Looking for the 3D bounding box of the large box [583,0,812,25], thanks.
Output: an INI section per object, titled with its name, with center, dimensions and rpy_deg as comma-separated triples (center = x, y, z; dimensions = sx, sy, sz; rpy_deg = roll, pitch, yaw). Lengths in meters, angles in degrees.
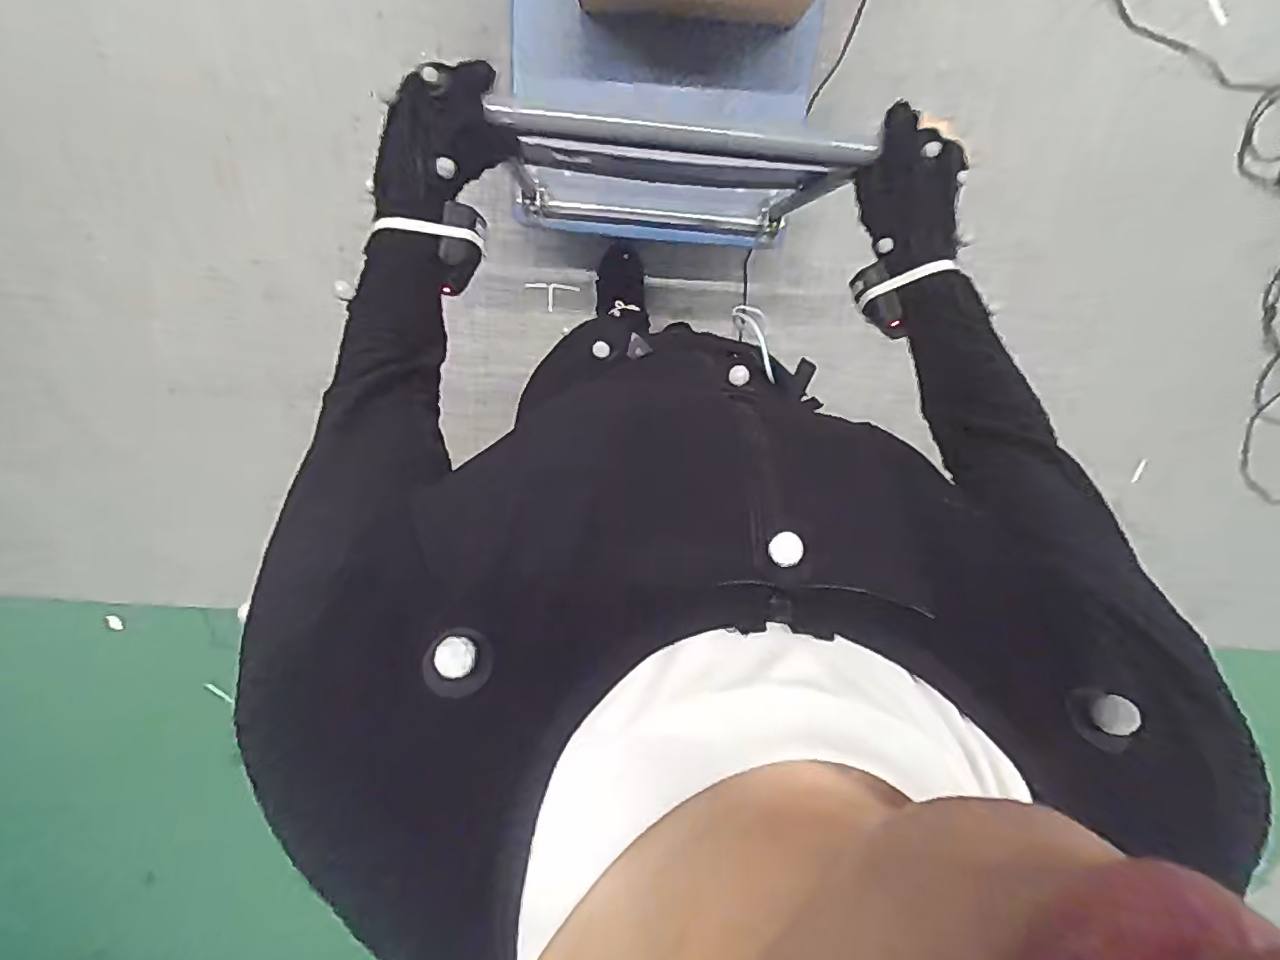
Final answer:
[large box]
center = 0.105, -0.943, 0.816
dimensions = 0.408, 0.320, 0.320
rpy_deg = 3, 111, -3
